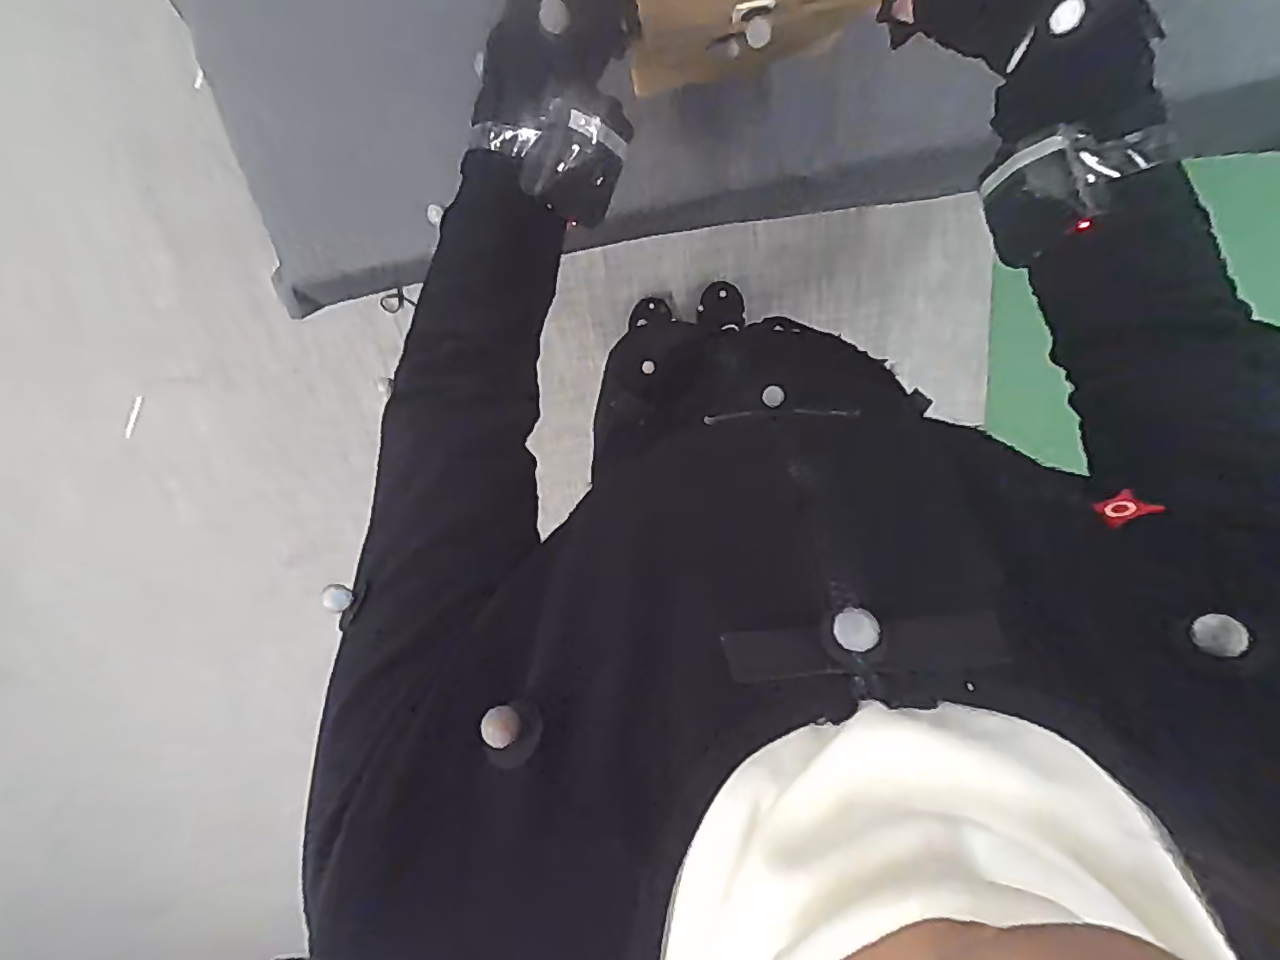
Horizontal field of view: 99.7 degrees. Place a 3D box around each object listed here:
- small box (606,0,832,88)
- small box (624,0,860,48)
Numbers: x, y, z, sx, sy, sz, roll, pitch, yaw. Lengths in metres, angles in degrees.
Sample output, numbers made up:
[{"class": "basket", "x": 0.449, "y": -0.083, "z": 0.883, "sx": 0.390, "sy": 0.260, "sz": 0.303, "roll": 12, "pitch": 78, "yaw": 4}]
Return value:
[{"class": "small box", "x": 0.058, "y": -0.418, "z": 0.399, "sx": 0.179, "sy": 0.176, "sz": 0.168, "roll": -8, "pitch": 114, "yaw": 6}, {"class": "small box", "x": 0.055, "y": -0.347, "z": 0.253, "sx": 0.168, "sy": 0.176, "sz": 0.179, "roll": -7, "pitch": 115, "yaw": 8}]
